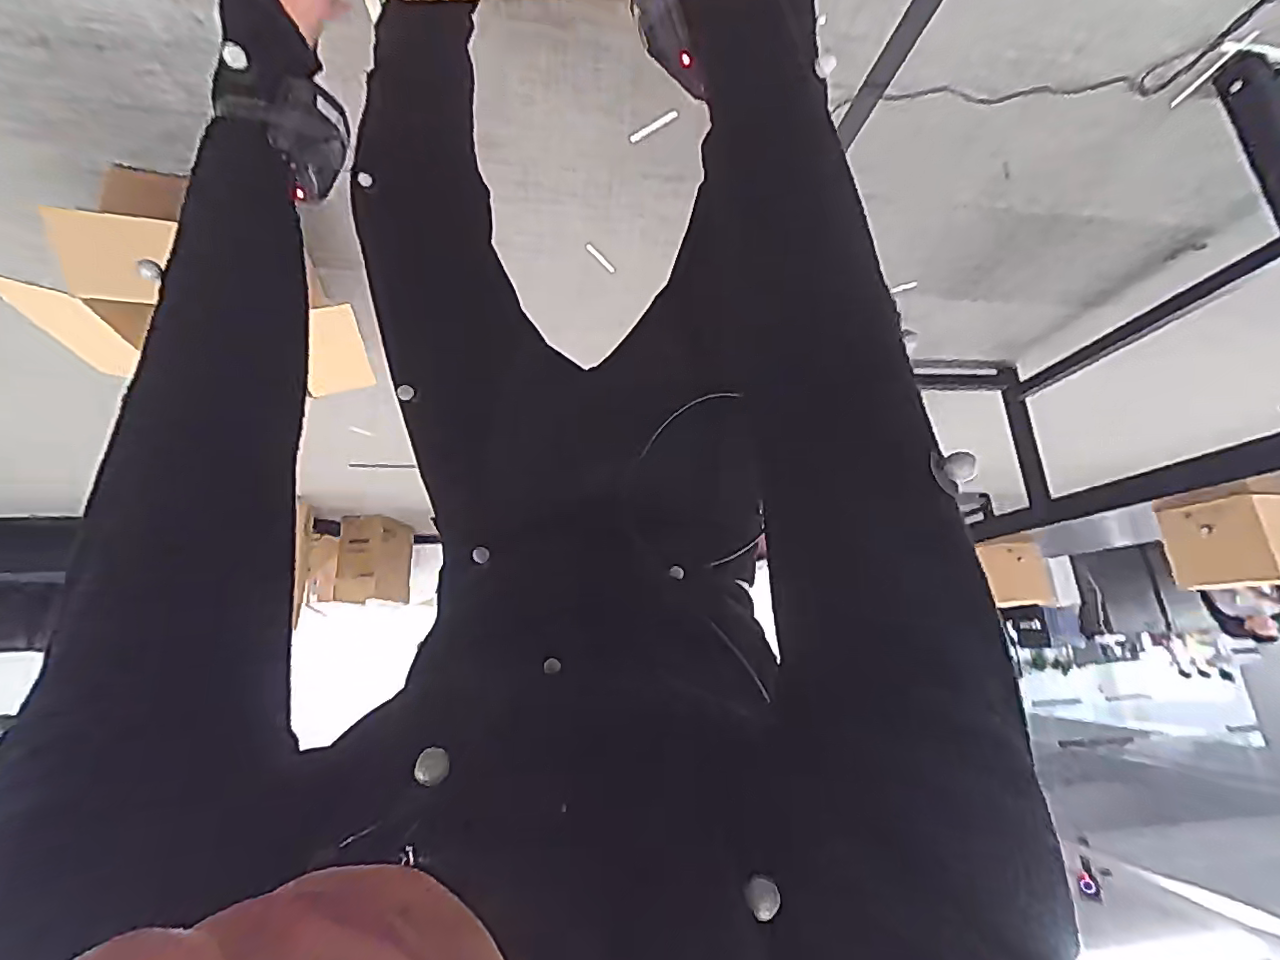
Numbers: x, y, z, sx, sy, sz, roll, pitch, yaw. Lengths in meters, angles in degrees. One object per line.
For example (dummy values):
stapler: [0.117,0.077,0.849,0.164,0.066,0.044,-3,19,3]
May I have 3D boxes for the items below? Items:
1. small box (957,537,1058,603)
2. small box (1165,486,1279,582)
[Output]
small box: [1.065,0.266,1.587,0.168,0.176,0.179,0,162,-11]
small box: [1.236,0.112,1.094,0.179,0.176,0.168,1,163,-14]
